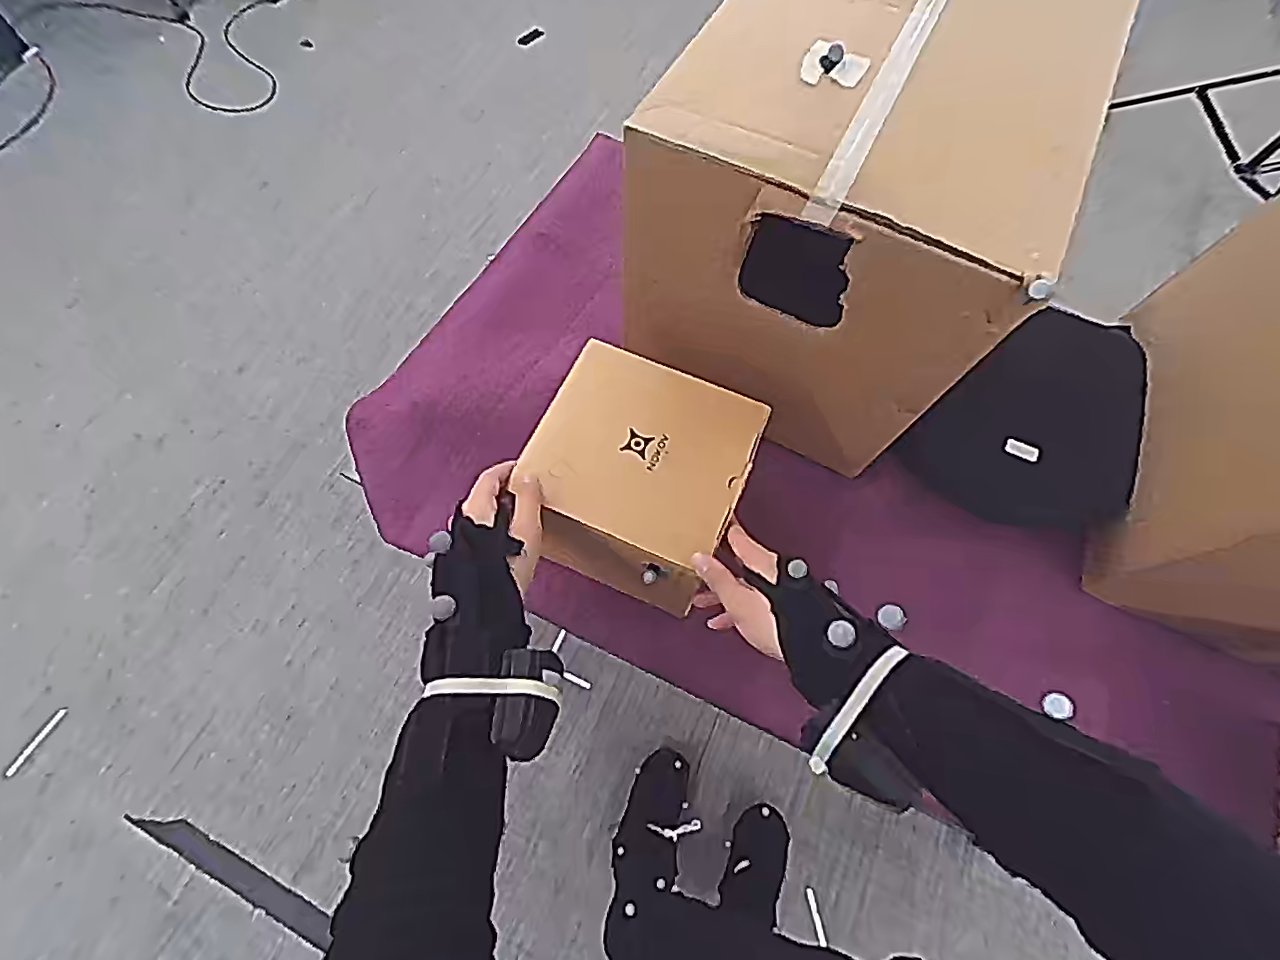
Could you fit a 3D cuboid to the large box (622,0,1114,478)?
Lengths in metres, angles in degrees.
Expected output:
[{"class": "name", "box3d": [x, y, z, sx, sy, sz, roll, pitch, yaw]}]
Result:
[{"class": "large box", "box3d": [0.203, -0.278, 0.583, 0.320, 0.320, 0.408, 26, 71, 9]}]
